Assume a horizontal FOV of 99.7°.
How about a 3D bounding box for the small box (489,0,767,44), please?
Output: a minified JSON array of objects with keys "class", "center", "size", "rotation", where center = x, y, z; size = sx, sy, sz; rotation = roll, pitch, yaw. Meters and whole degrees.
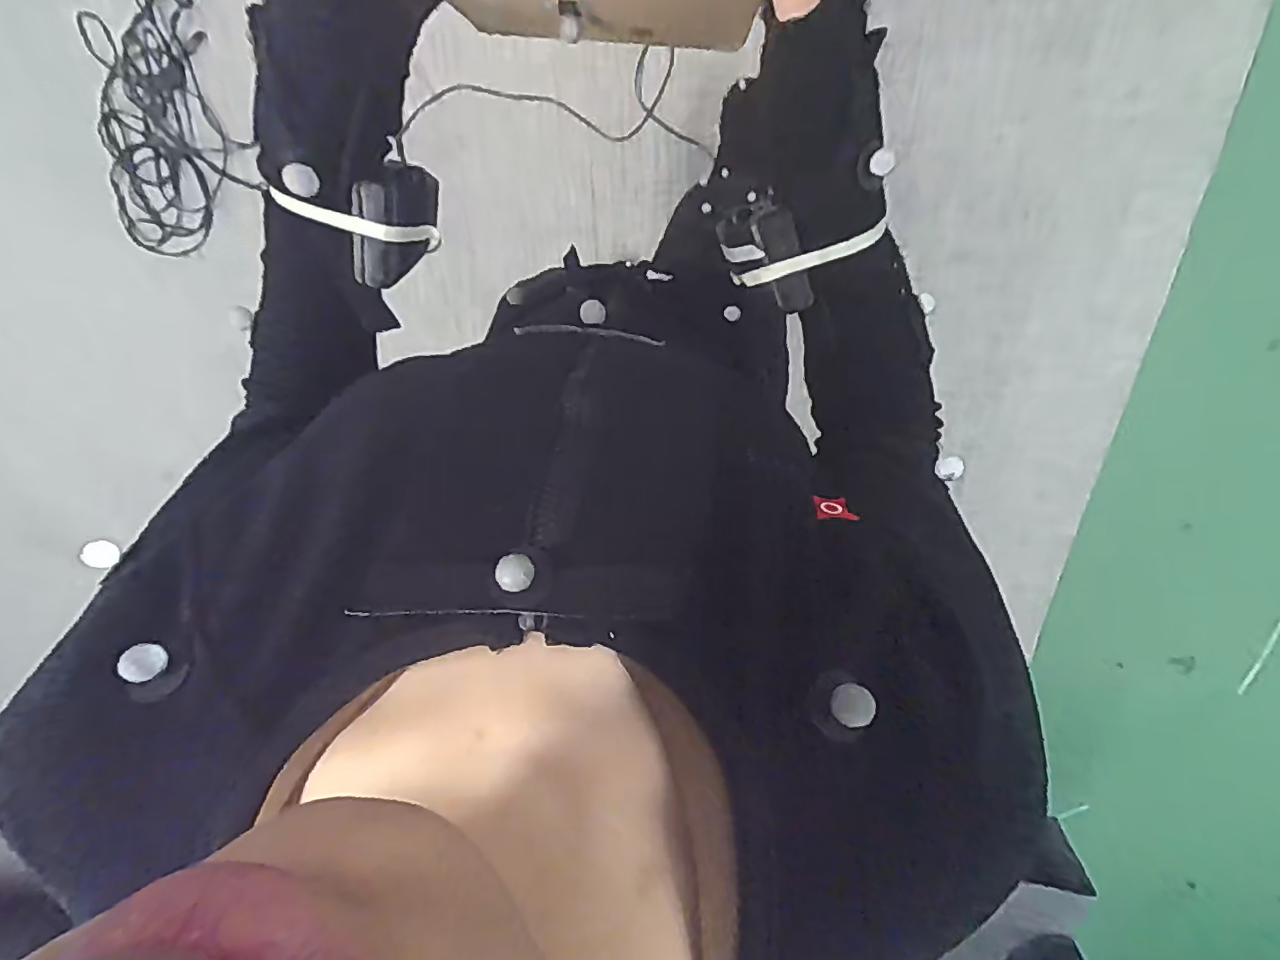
[{"class":"small box","center":[-0.012,-0.310,0.216],"size":[0.168,0.176,0.179],"rotation":[5,118,1]}]
